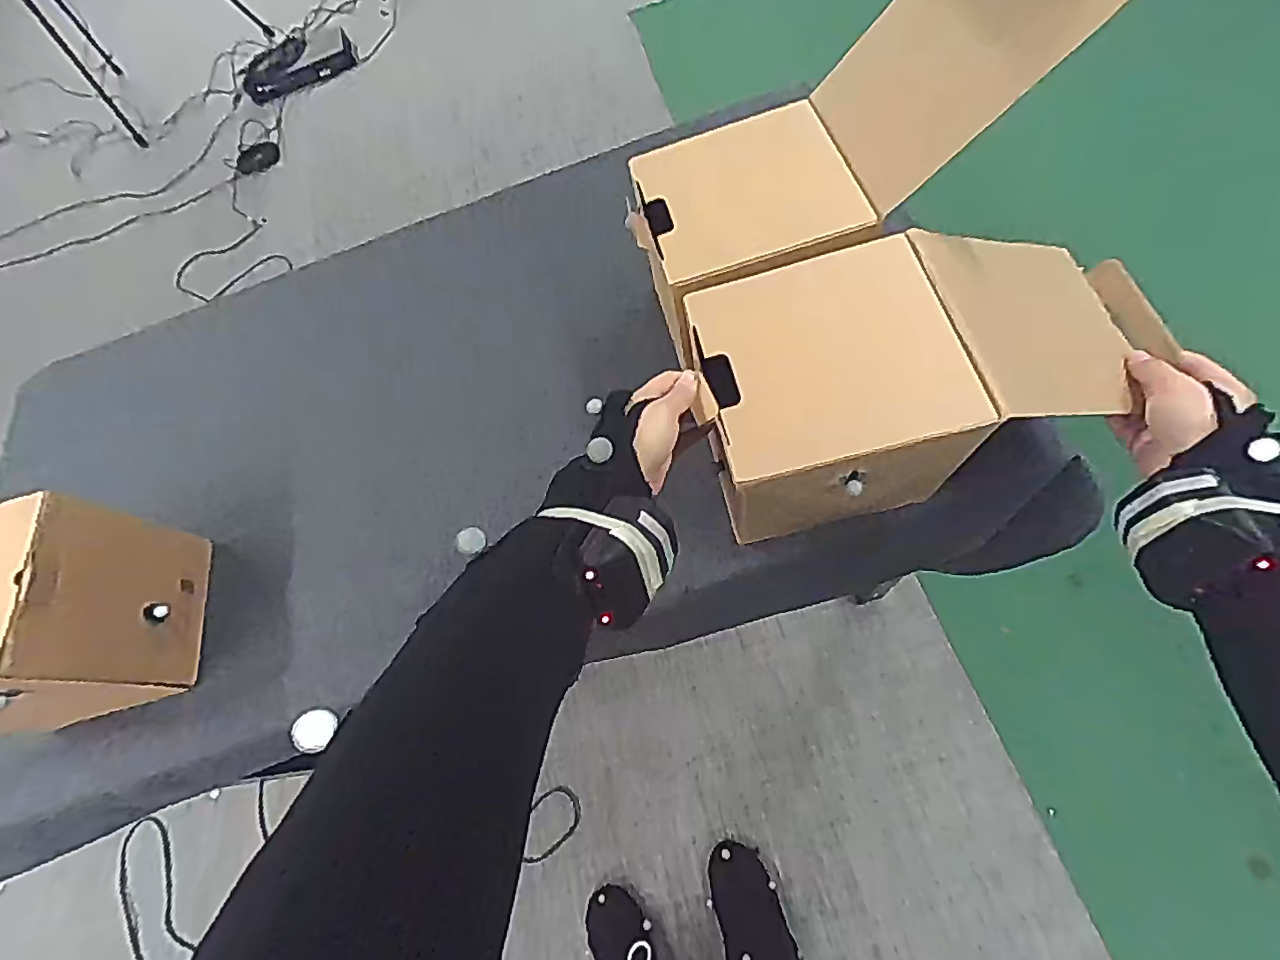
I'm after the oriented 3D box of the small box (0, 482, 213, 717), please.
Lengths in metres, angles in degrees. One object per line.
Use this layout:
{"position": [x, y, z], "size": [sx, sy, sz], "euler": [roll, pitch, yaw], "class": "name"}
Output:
{"position": [-0.576, 0.127, 0.528], "size": [0.179, 0.176, 0.168], "euler": [-17, 65, 4], "class": "small box"}
